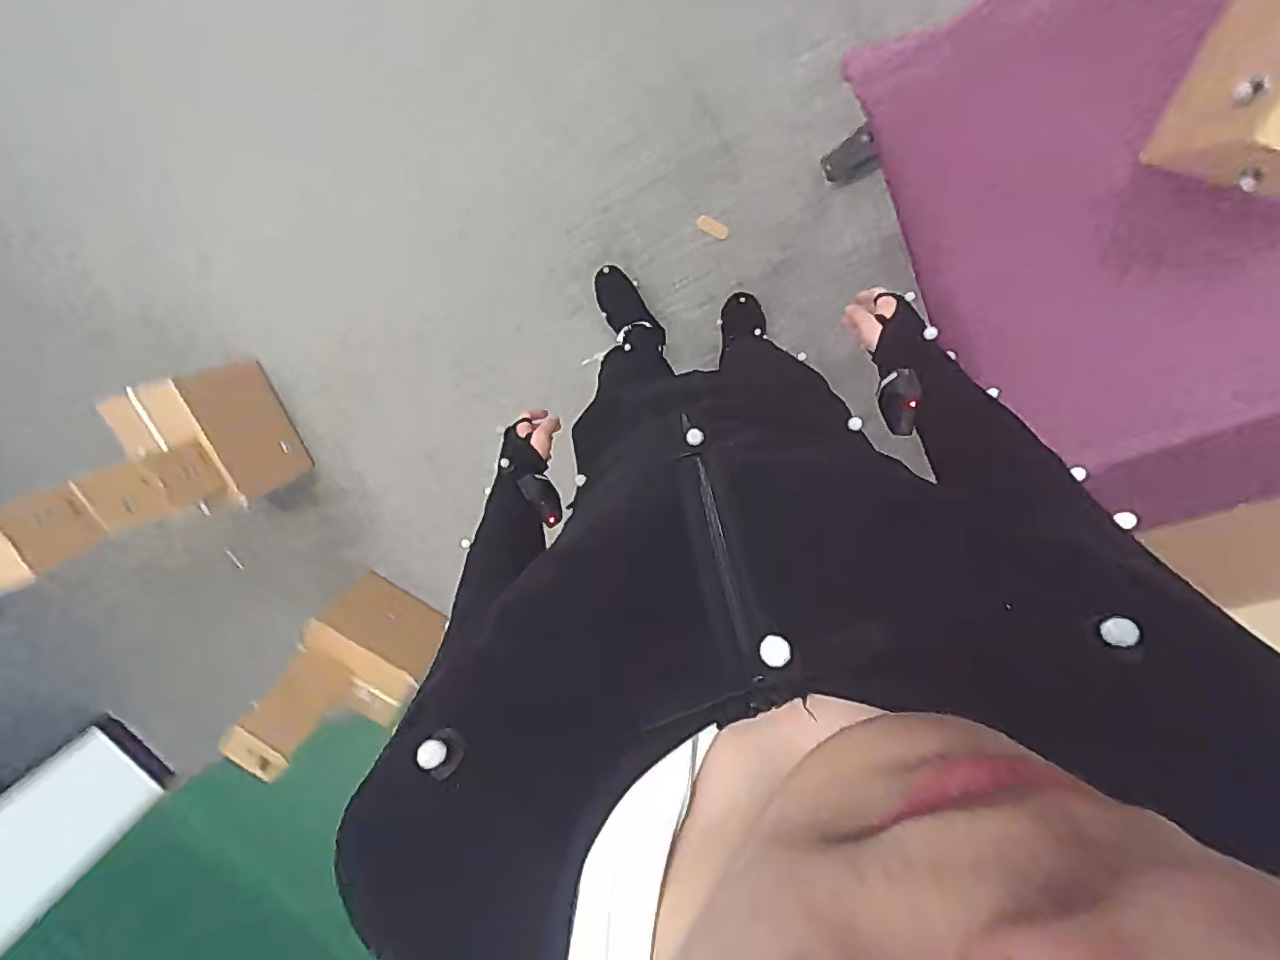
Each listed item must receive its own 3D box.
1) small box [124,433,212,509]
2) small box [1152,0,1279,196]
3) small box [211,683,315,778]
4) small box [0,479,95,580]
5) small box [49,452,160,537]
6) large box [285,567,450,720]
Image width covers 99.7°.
[{"bbox_3d":[-1.370,-0.018,1.531,0.179,0.176,0.168,-14,110,14],"label":"small box"},{"bbox_3d":[0.690,-0.404,0.548,0.168,0.176,0.179,18,116,1],"label":"small box"},{"bbox_3d":[-1.152,0.765,1.665,0.179,0.176,0.168,40,114,-9],"label":"small box"},{"bbox_3d":[-1.423,0.114,1.238,0.179,0.176,0.168,-15,110,17],"label":"small box"},{"bbox_3d":[-1.394,0.045,1.383,0.179,0.176,0.168,-14,111,16],"label":"small box"},{"bbox_3d":[-1.006,0.601,2.022,0.408,0.320,0.320,33,116,-7],"label":"large box"}]
